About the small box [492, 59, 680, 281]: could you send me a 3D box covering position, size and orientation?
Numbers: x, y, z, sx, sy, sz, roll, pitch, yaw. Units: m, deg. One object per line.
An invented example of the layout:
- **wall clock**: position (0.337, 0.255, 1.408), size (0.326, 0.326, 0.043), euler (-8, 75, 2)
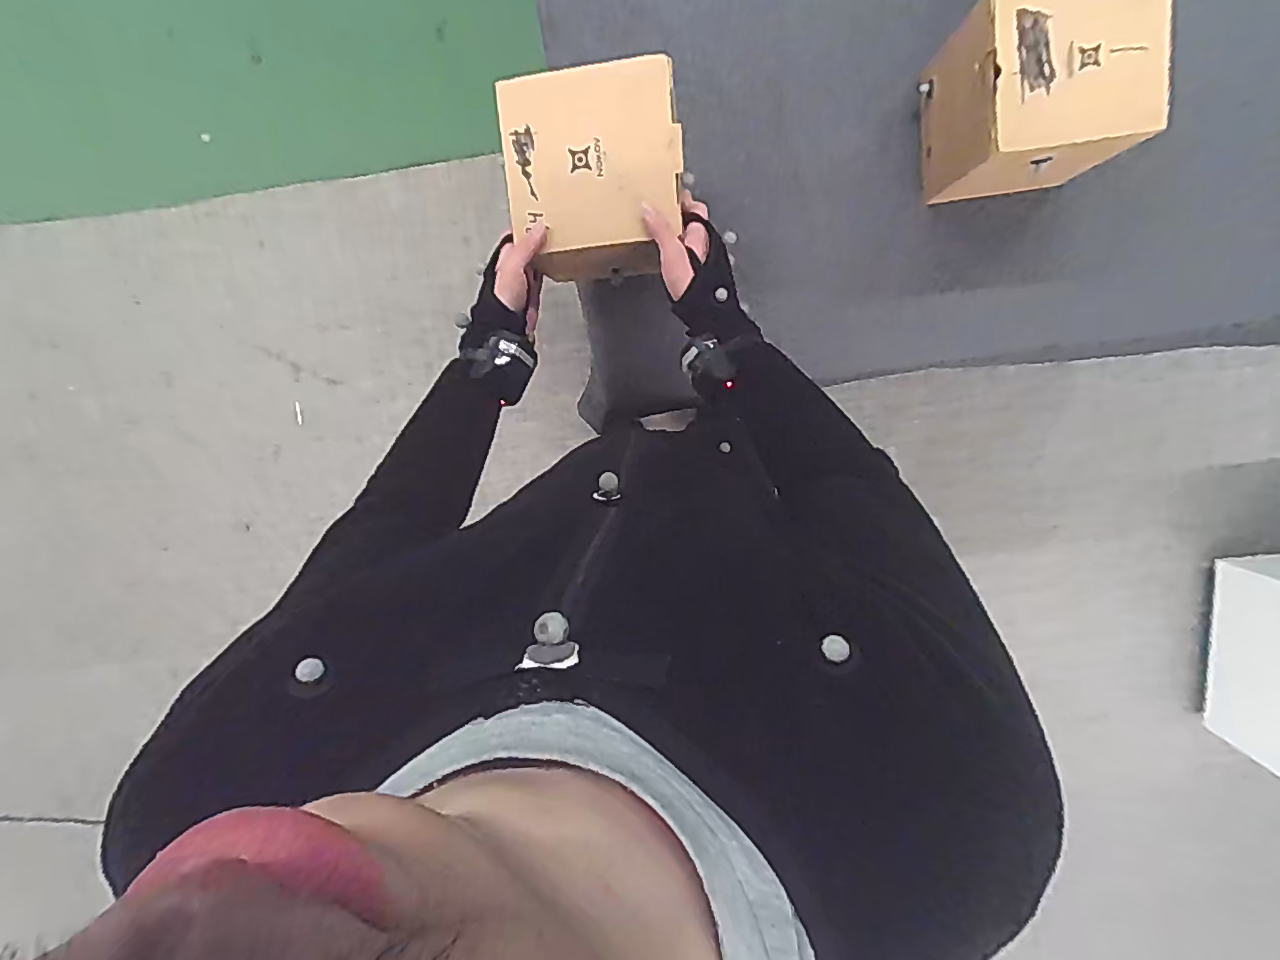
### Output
- **small box**: position (-0.046, -0.327, 0.607), size (0.179, 0.176, 0.168), euler (-3, 100, 7)

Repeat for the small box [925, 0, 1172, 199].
- **small box**: position (0.453, -0.448, 0.630), size (0.179, 0.176, 0.168), euler (-6, 101, 3)
